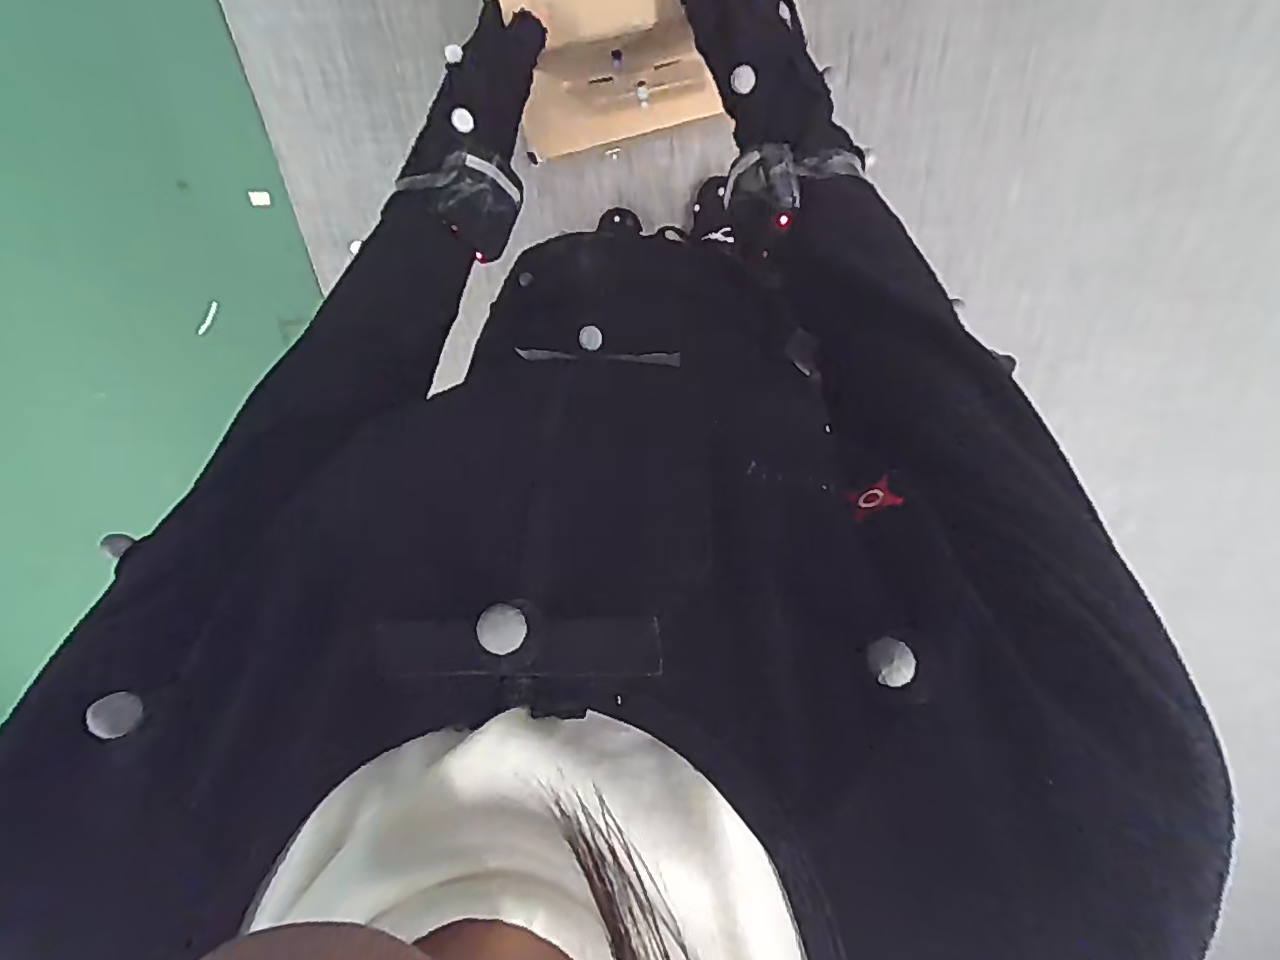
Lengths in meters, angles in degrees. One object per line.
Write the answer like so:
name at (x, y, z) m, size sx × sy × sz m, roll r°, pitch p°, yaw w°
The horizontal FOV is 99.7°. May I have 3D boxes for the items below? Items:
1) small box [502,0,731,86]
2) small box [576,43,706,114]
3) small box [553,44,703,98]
small box at (-0.027, -0.458, 0.456) m, size 0.179 × 0.176 × 0.168 m, roll -9°, pitch 120°, yaw 9°
small box at (-0.006, -0.619, 0.742) m, size 0.179 × 0.176 × 0.168 m, roll -7°, pitch 120°, yaw 9°
small box at (-0.019, -0.542, 0.598) m, size 0.168 × 0.176 × 0.179 m, roll -6°, pitch 121°, yaw 9°
